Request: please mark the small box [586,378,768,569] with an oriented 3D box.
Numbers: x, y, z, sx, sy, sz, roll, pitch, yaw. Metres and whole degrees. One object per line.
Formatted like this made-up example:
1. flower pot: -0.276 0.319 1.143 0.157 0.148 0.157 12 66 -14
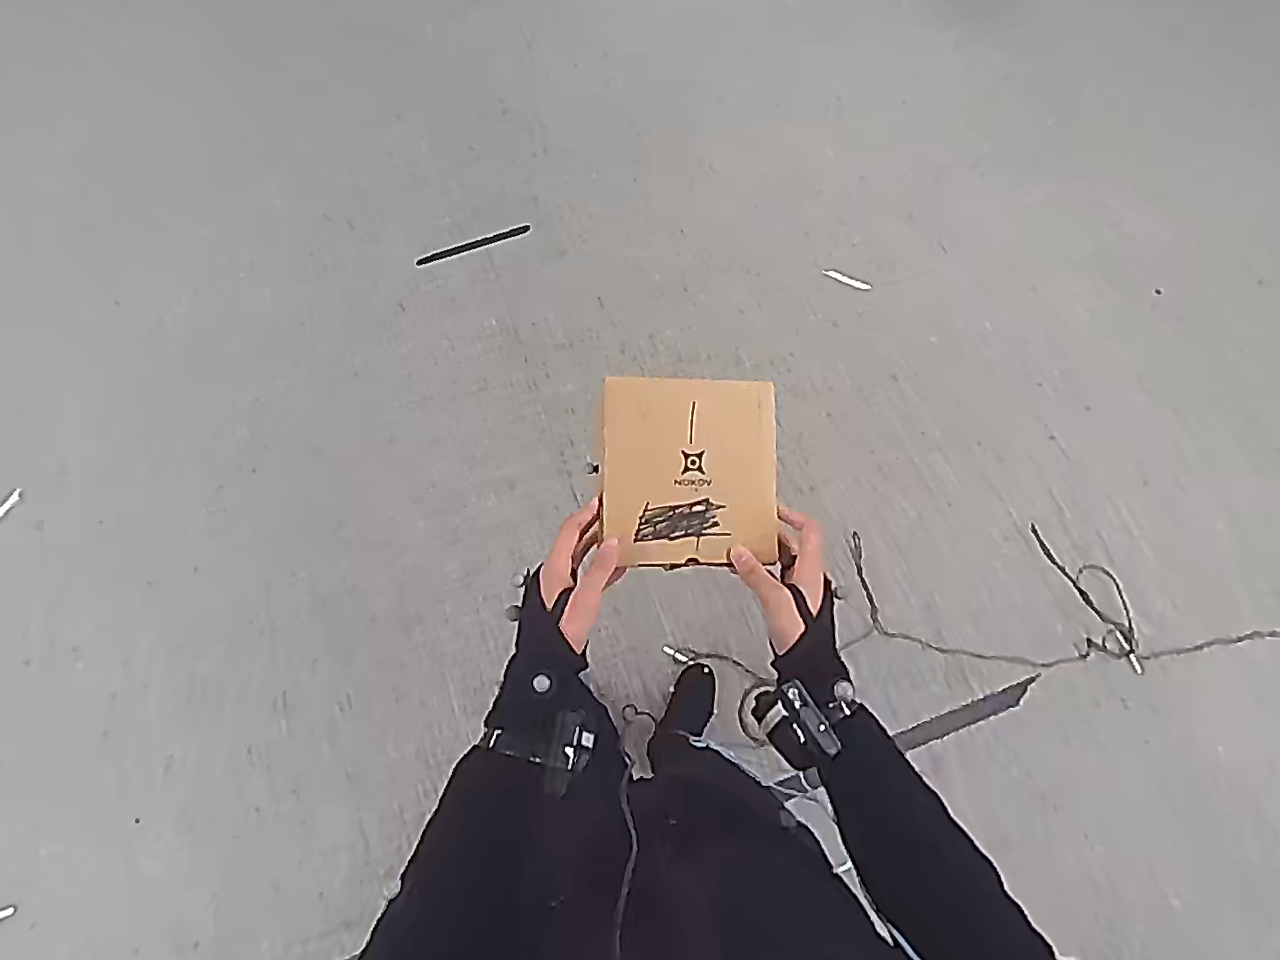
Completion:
1. small box: 0.029 0.000 0.580 0.168 0.176 0.179 0 85 -9
